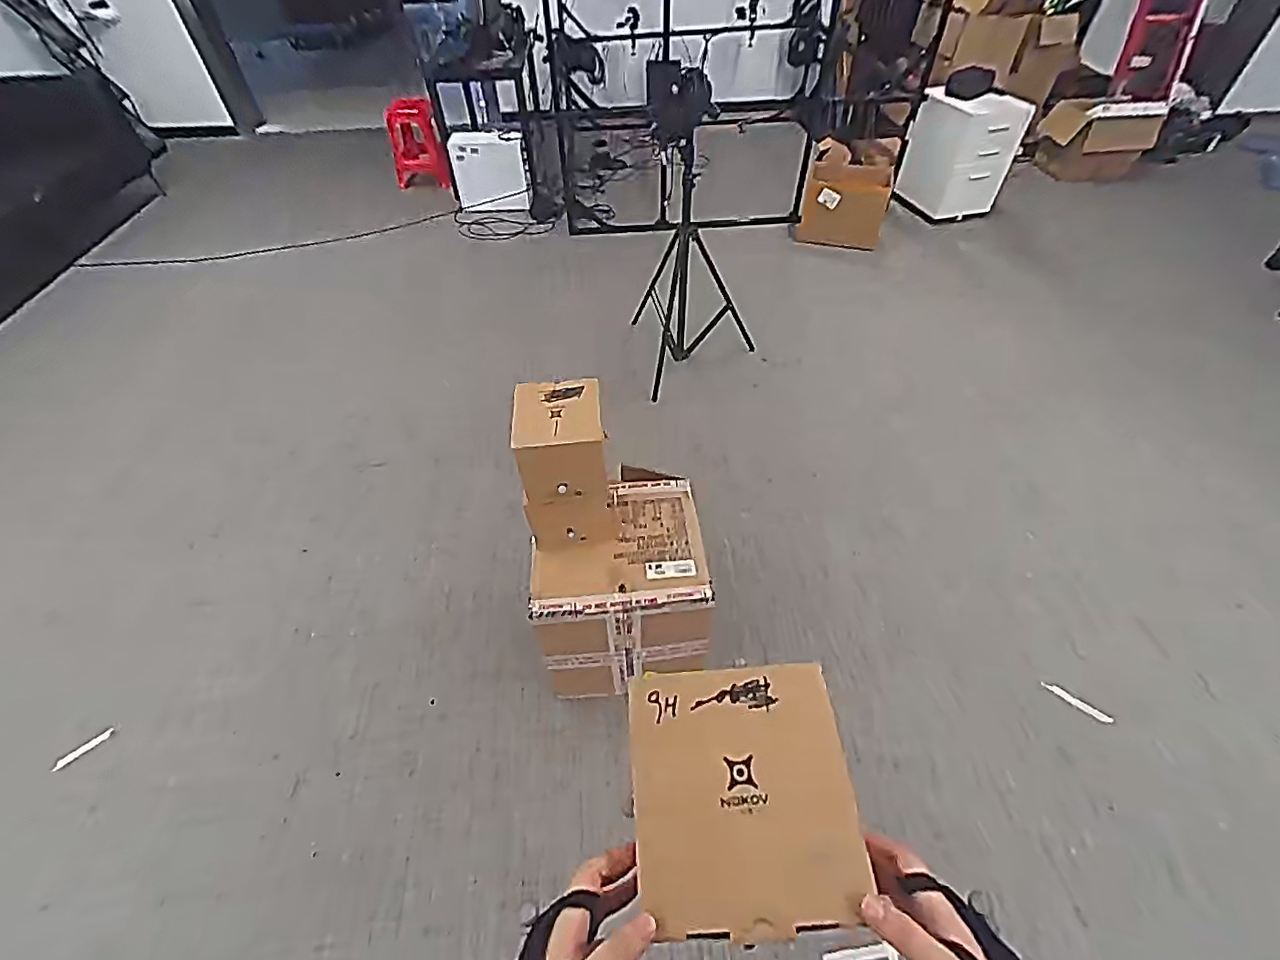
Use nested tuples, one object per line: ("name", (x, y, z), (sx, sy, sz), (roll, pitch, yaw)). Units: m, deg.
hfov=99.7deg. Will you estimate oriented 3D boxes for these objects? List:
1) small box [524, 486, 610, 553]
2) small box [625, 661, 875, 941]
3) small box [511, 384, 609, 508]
("small box", (-0.161, 0.038, 1.203), (0.168, 0.176, 0.179), (-9, 51, -3))
("small box", (0.078, 0.275, 0.476), (0.168, 0.176, 0.179), (-5, 55, 0))
("small box", (-0.152, -0.066, 1.076), (0.168, 0.176, 0.179), (-6, 51, -1))
